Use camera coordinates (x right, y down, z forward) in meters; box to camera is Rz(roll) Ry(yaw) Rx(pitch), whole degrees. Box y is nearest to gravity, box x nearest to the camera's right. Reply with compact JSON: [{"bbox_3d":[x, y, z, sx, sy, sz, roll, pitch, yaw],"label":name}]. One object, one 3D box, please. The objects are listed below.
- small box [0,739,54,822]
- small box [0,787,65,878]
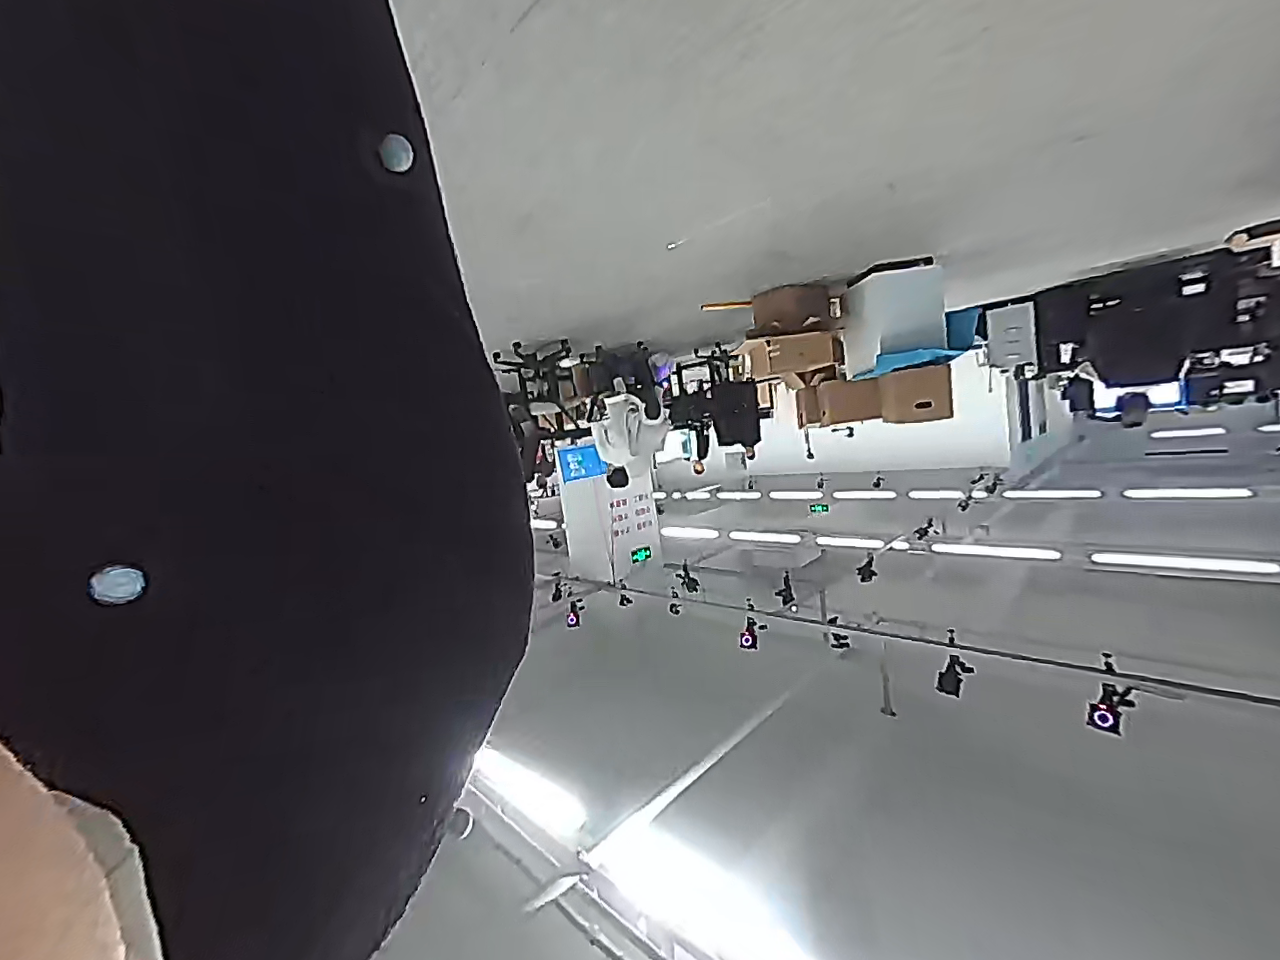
[{"bbox_3d":[-1.906,0.903,1.619,0.168,0.176,0.179,-2,-172,43],"label":"small box"},{"bbox_3d":[-1.889,1.064,1.644,0.179,0.176,0.168,-2,-172,44],"label":"small box"}]
